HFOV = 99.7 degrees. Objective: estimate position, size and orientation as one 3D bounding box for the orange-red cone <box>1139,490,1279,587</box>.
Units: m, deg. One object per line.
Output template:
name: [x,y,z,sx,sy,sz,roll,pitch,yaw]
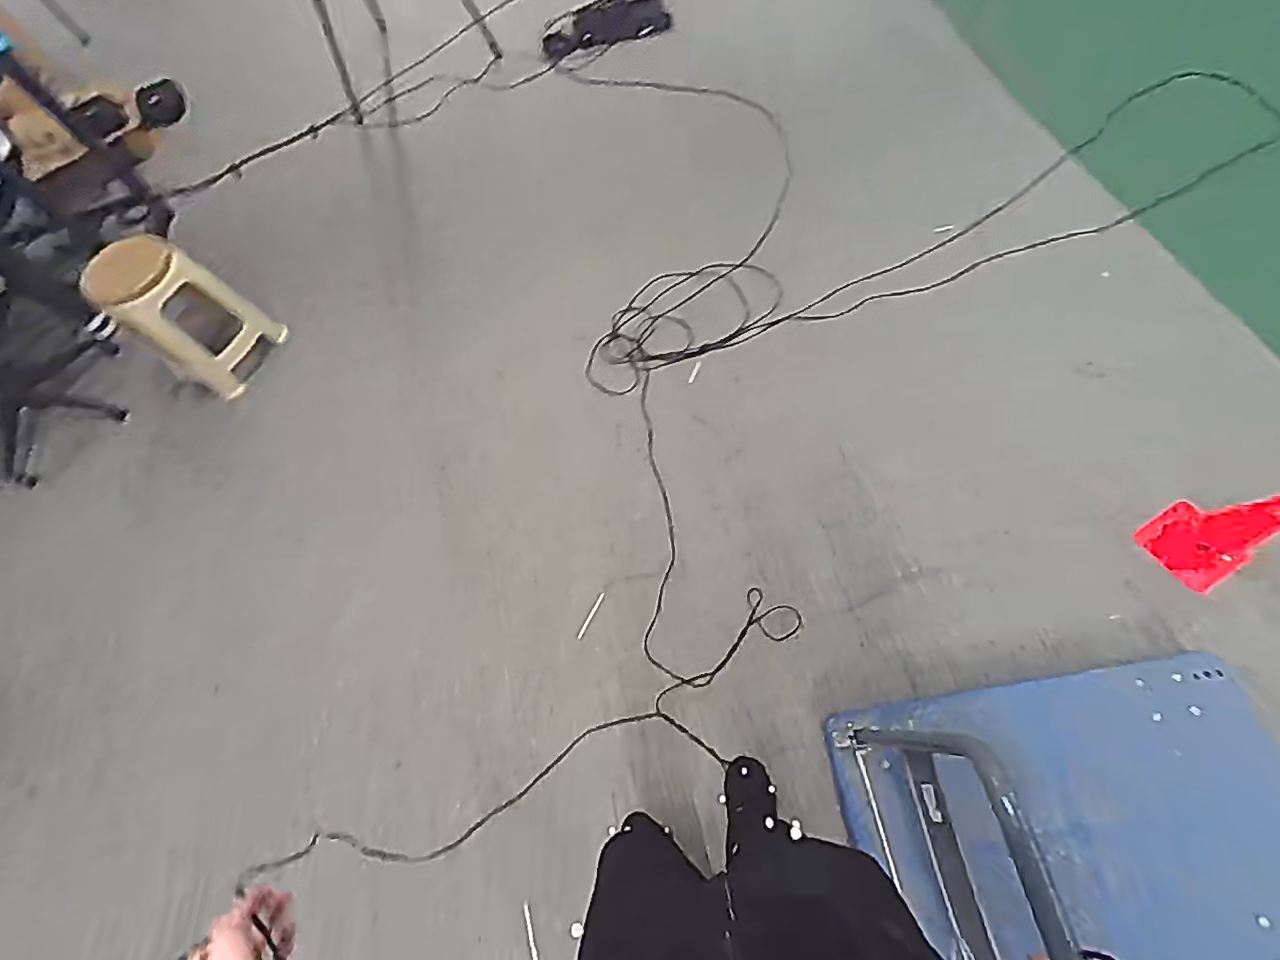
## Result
orange-red cone: [1.445,0.091,1.280,0.198,0.360,0.199,-30,64,-7]
